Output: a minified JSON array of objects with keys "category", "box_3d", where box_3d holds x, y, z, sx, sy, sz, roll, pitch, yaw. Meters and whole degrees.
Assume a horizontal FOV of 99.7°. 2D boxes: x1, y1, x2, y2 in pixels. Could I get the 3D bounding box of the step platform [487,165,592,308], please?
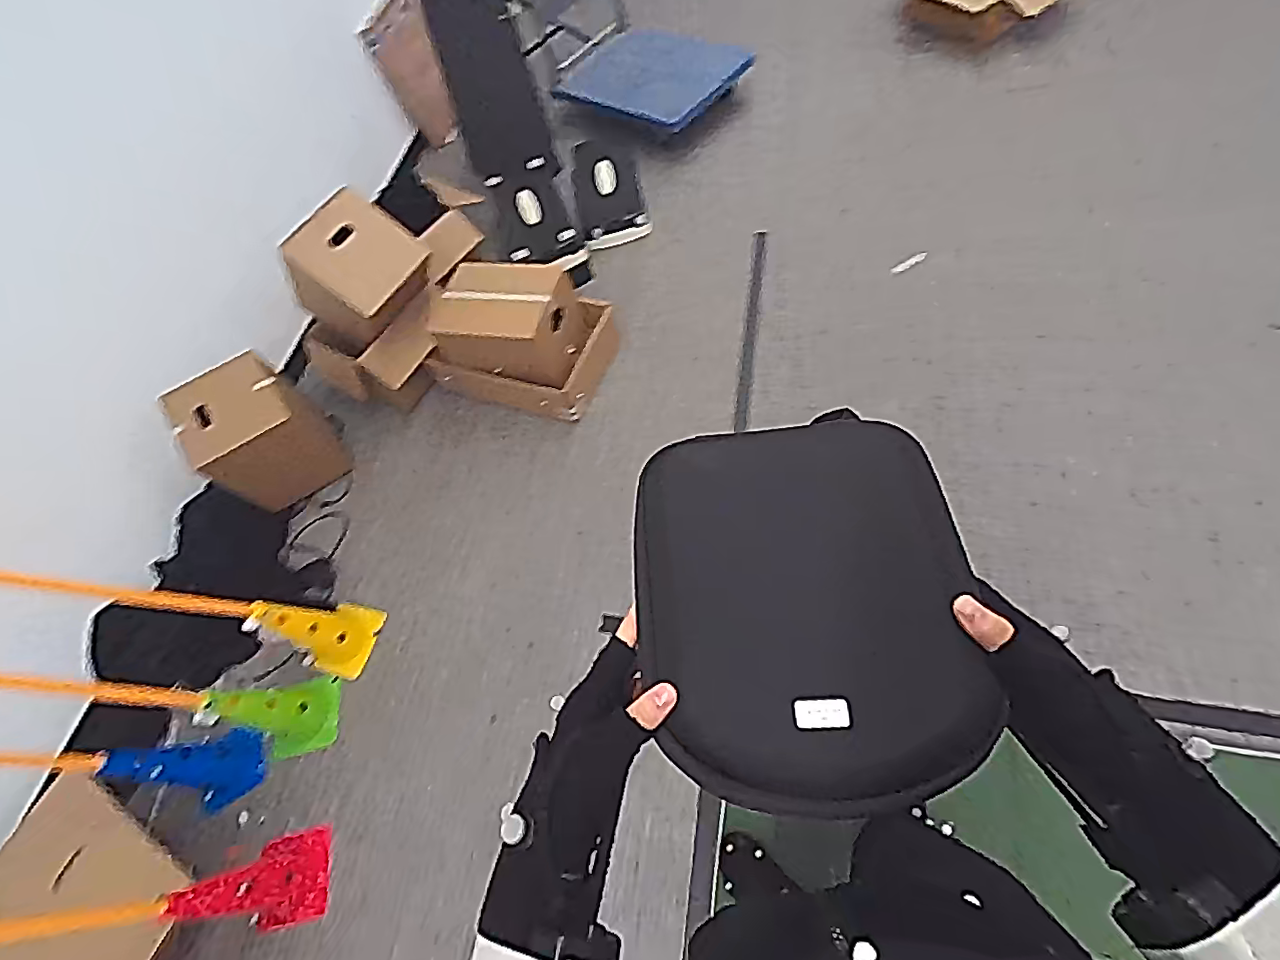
[{"category":"step platform","box_3d":[-0.440,-1.053,2.302,0.286,0.204,0.684,-23,60,1]}]
